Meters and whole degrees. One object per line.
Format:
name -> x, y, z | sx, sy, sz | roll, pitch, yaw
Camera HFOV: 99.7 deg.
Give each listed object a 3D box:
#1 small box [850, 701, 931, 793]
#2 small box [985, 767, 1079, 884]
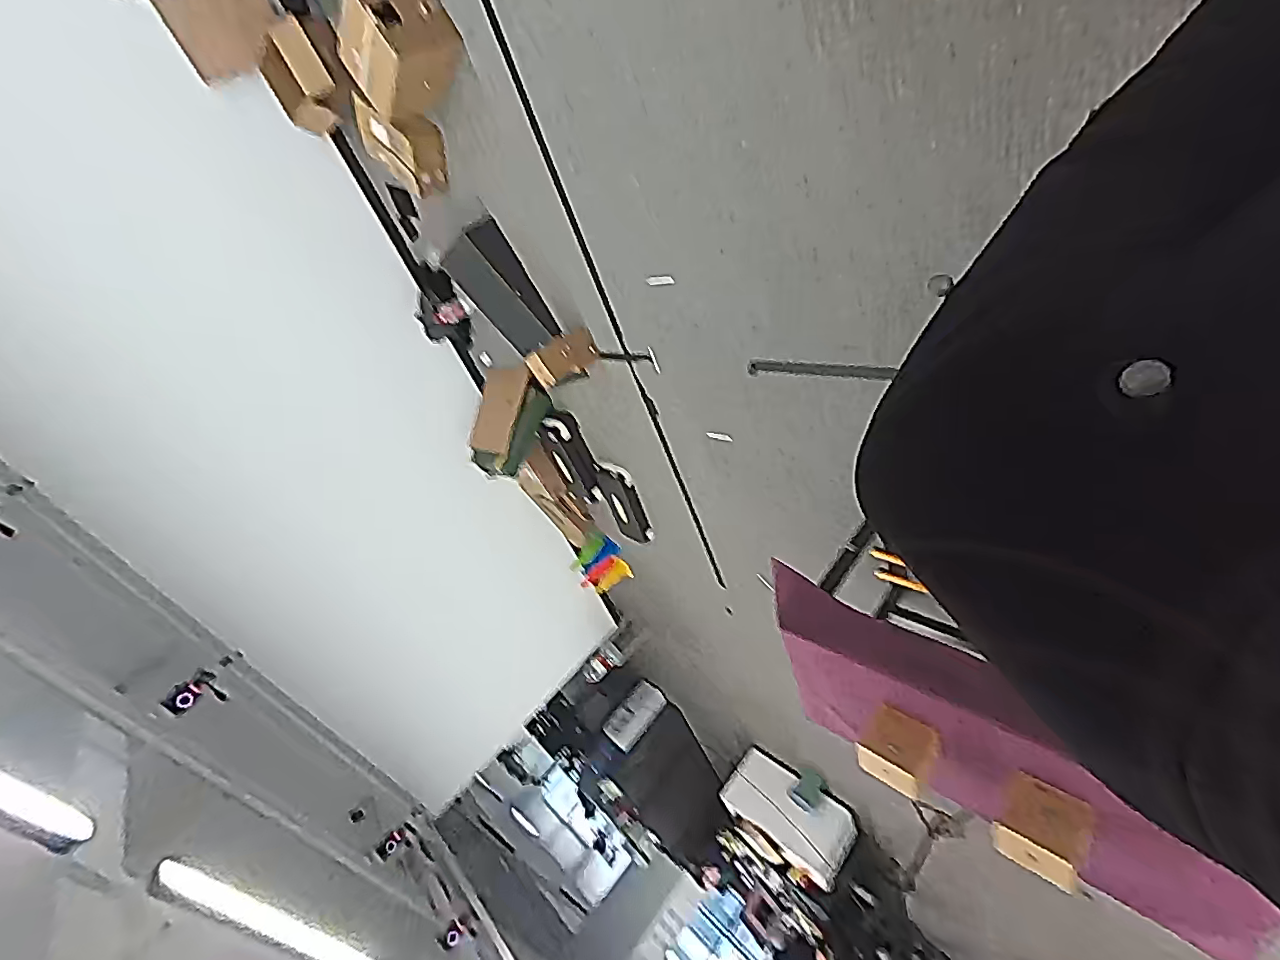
small box -> 0.791, 0.832, 1.706 | 0.179, 0.176, 0.168 | 19, 142, 43
small box -> 1.040, 0.907, 1.437 | 0.168, 0.176, 0.179 | 16, 140, 47
